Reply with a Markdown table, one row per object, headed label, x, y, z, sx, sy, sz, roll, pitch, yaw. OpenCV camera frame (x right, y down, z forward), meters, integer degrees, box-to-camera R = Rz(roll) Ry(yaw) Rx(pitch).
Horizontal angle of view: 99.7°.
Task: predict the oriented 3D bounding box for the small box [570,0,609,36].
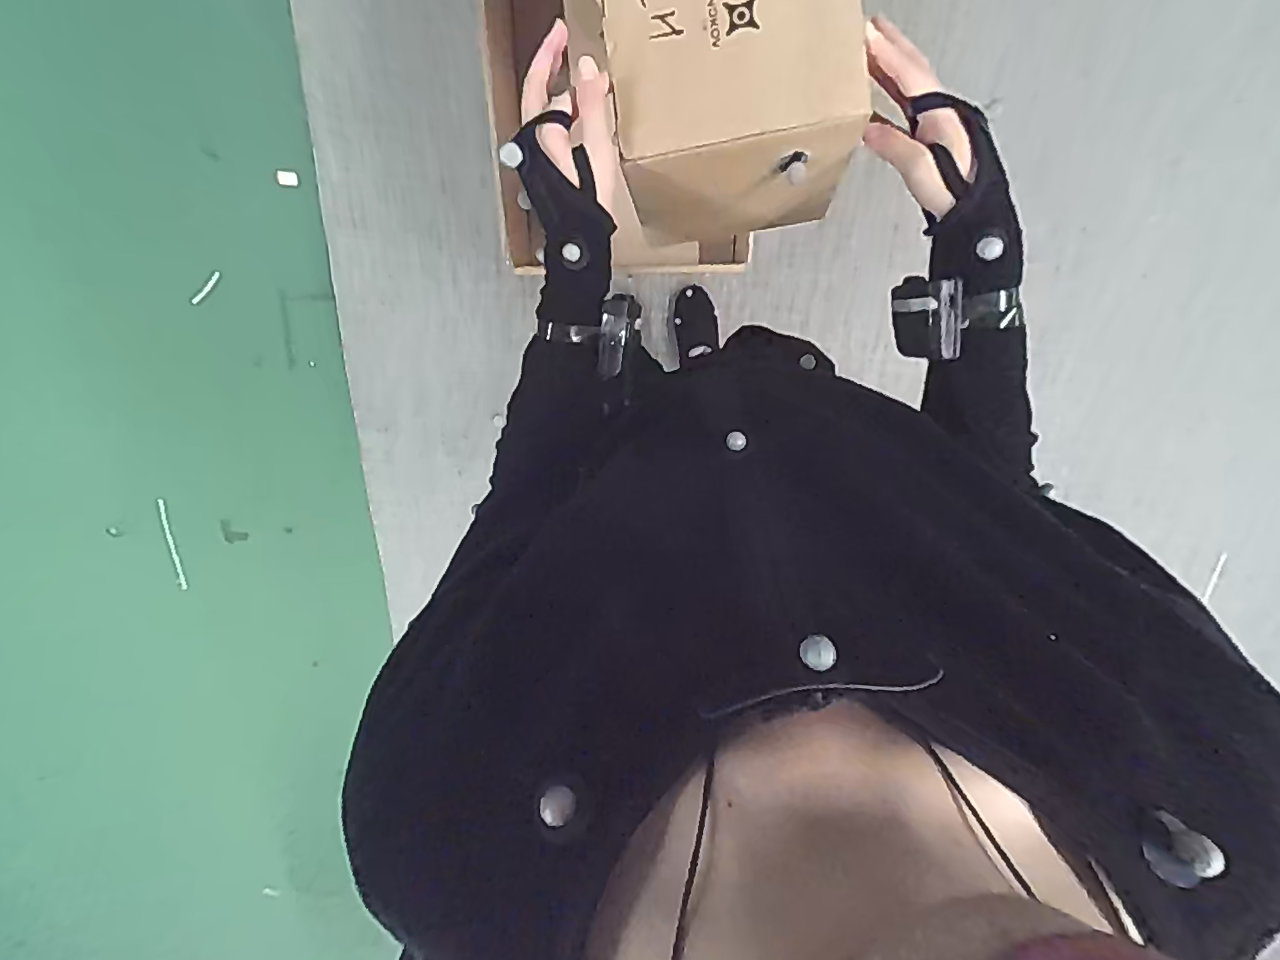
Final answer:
| label | x | y | z | sx | sy | sz | roll | pitch | yaw |
| --- | --- | --- | --- | --- | --- | --- | --- | --- | --- |
| small box | -0.002 | -0.646 | 0.622 | 0.168 | 0.176 | 0.179 | -4 | 112 | 4 |

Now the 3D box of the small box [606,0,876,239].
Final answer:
| label | x | y | z | sx | sy | sz | roll | pitch | yaw |
| --- | --- | --- | --- | --- | --- | --- | --- | --- | --- |
| small box | 0.075 | -0.320 | 0.443 | 0.179 | 0.176 | 0.168 | -5 | 93 | 9 |
